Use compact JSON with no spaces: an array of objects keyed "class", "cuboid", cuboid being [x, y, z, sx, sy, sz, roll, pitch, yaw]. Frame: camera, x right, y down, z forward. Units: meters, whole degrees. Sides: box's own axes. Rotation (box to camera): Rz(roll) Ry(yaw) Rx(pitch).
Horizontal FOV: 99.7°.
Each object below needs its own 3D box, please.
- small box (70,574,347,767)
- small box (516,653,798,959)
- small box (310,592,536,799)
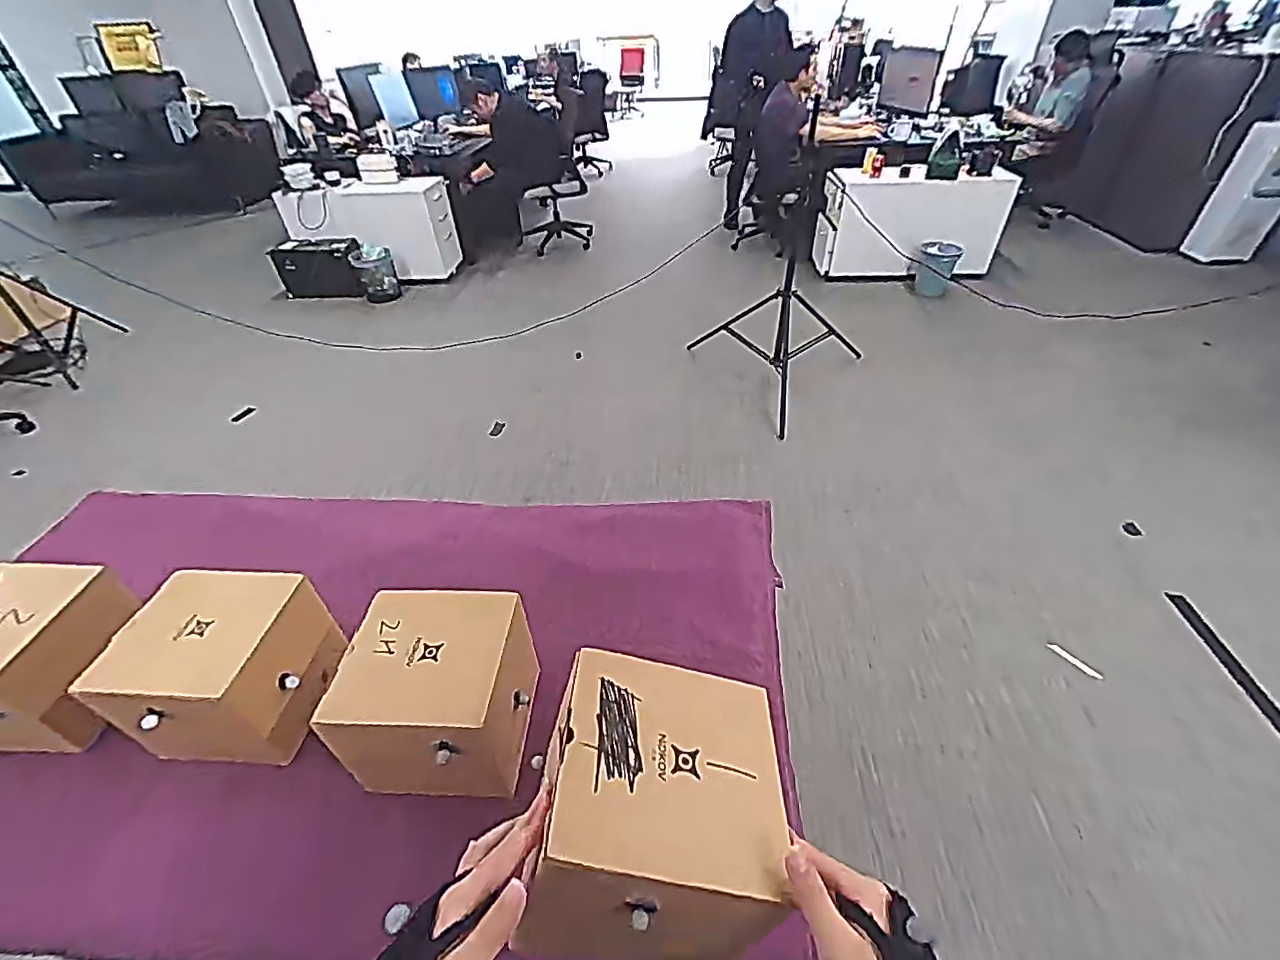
[{"class":"small box","cuboid":[-0.505,0.237,0.672,0.179,0.176,0.168,0,40,5]},{"class":"small box","cuboid":[0.005,0.278,0.453,0.179,0.176,0.168,14,33,-6]},{"class":"small box","cuboid":[-0.229,0.251,0.632,0.179,0.176,0.168,0,39,4]}]
